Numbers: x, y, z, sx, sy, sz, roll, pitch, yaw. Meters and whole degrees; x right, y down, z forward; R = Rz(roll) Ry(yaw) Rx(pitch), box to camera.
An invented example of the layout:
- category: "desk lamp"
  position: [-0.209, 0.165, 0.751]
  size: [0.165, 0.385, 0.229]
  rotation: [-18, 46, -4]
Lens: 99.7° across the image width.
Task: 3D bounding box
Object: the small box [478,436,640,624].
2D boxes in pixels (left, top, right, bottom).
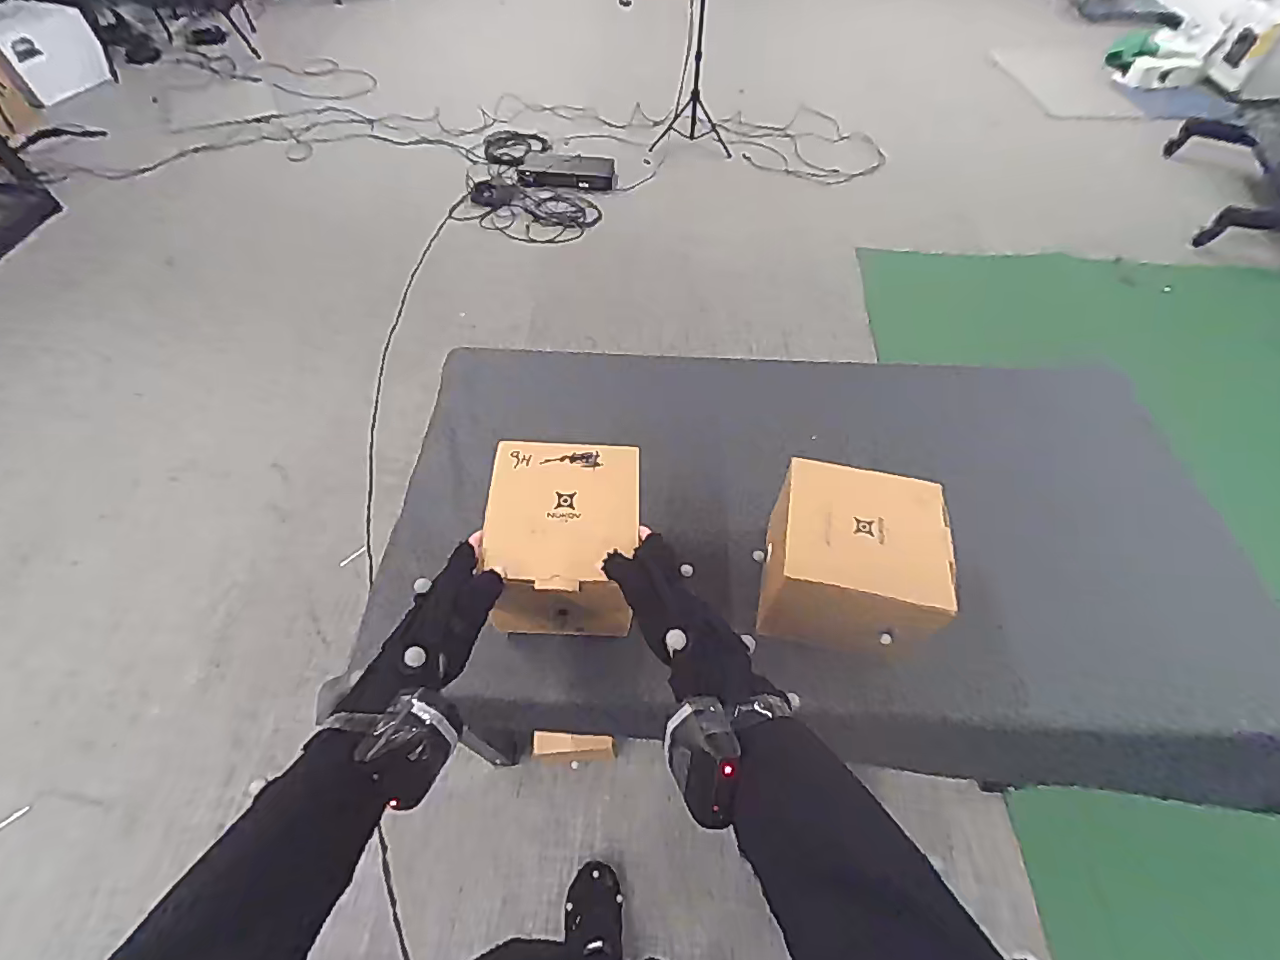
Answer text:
- category: "small box"
  position: [-0.088, 0.068, 0.660]
  size: [0.168, 0.176, 0.179]
  rotation: [3, 58, -4]

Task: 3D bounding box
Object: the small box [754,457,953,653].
- category: "small box"
  position: [0.249, 0.098, 0.667]
  size: [0.179, 0.176, 0.168]
  rotation: [10, 54, 7]
